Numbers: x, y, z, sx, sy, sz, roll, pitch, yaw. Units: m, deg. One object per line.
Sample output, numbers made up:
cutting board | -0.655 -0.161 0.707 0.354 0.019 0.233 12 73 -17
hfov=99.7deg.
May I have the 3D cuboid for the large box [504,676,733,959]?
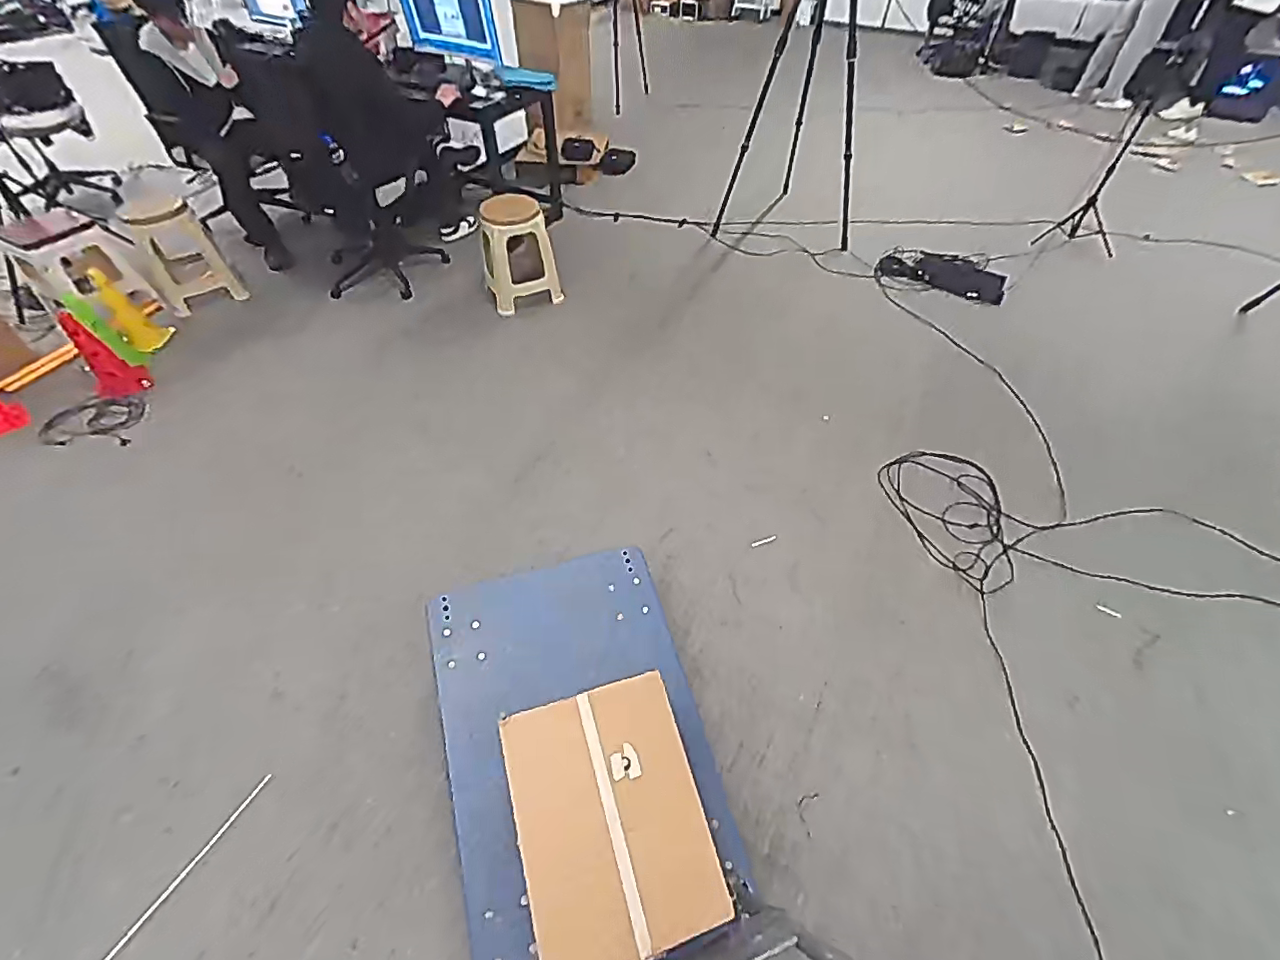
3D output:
large box | -0.060 0.658 1.071 0.320 0.320 0.408 -12 62 -14
